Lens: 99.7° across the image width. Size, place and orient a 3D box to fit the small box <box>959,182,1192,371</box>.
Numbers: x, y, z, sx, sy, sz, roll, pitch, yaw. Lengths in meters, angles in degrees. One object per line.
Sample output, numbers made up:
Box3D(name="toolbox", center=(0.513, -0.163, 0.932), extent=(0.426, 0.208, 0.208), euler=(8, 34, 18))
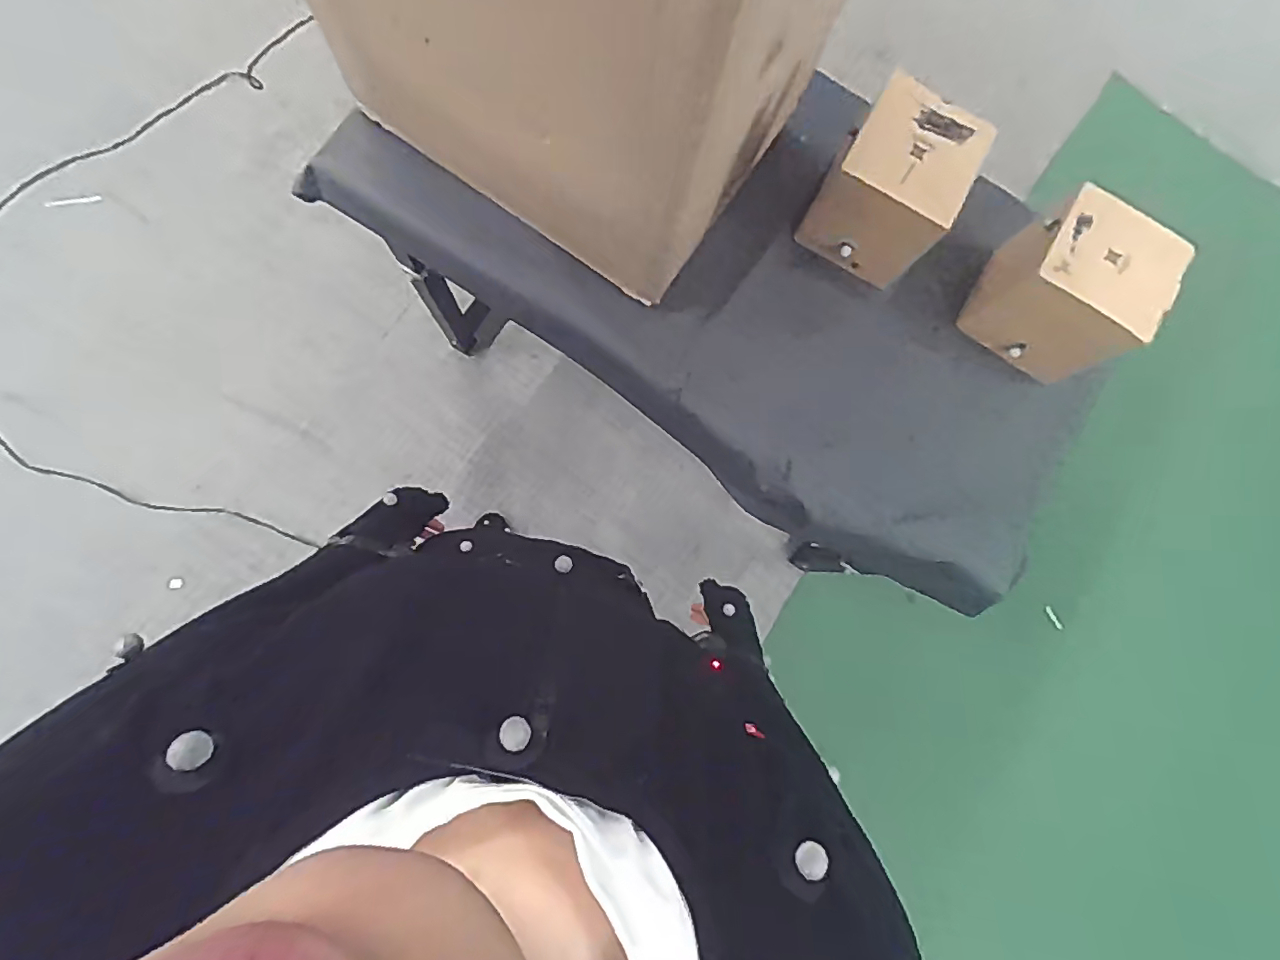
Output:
Box3D(name="small box", center=(0.628, -0.282, 0.799), extent=(0.179, 0.176, 0.168), euler=(33, 80, -1))
